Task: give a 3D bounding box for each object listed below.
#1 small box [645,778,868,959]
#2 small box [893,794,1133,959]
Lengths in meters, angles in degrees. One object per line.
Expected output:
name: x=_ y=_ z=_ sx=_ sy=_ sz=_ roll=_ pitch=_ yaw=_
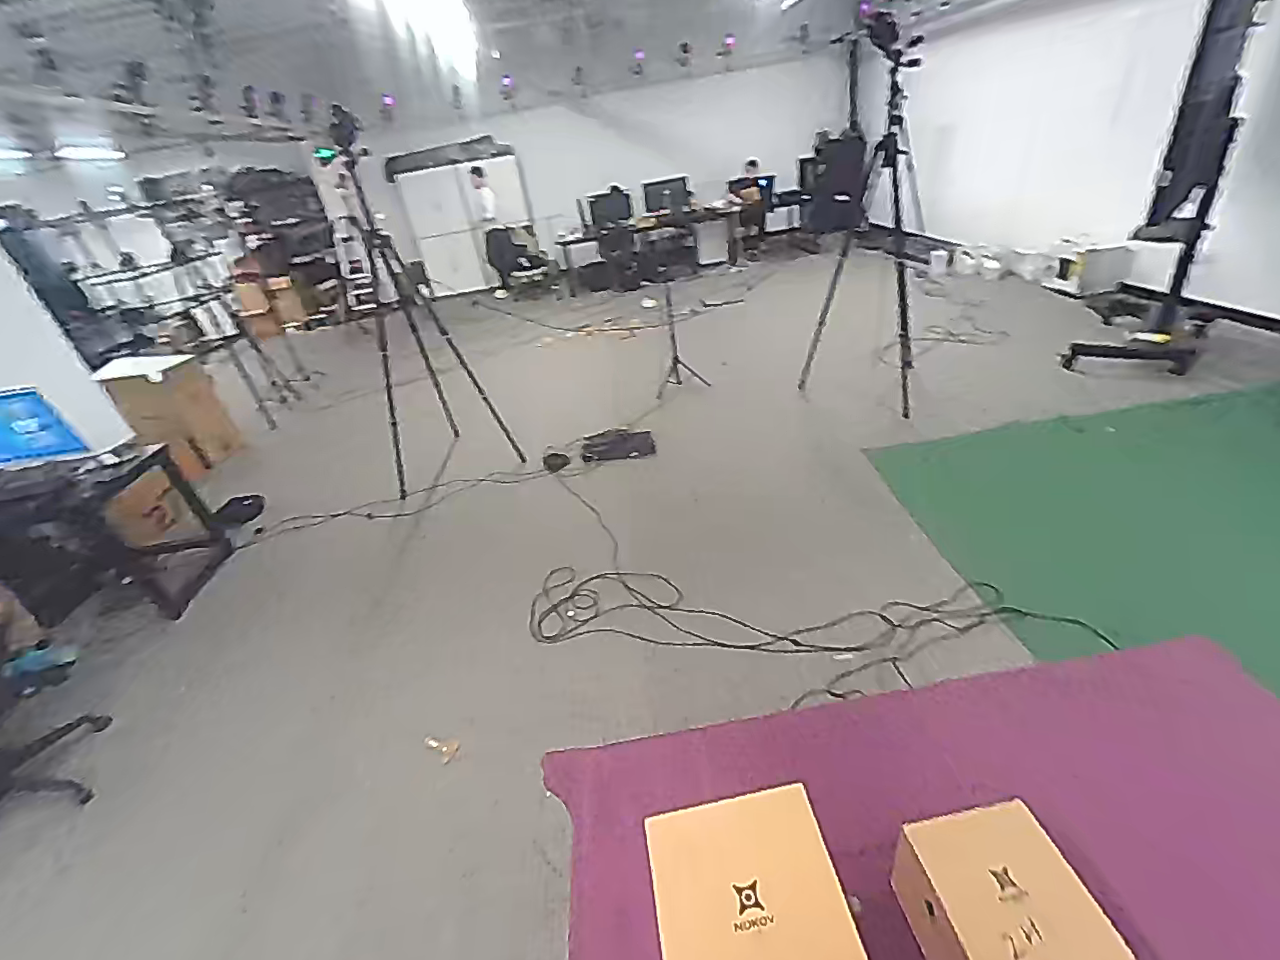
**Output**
small box: x=0.104 y=0.425 z=0.516 sx=0.168 sy=0.176 sz=0.179 roll=-12 pitch=37 yaw=-1
small box: x=0.439 y=0.537 z=0.676 sx=0.168 sy=0.176 sz=0.179 roll=-11 pitch=32 yaw=-1
